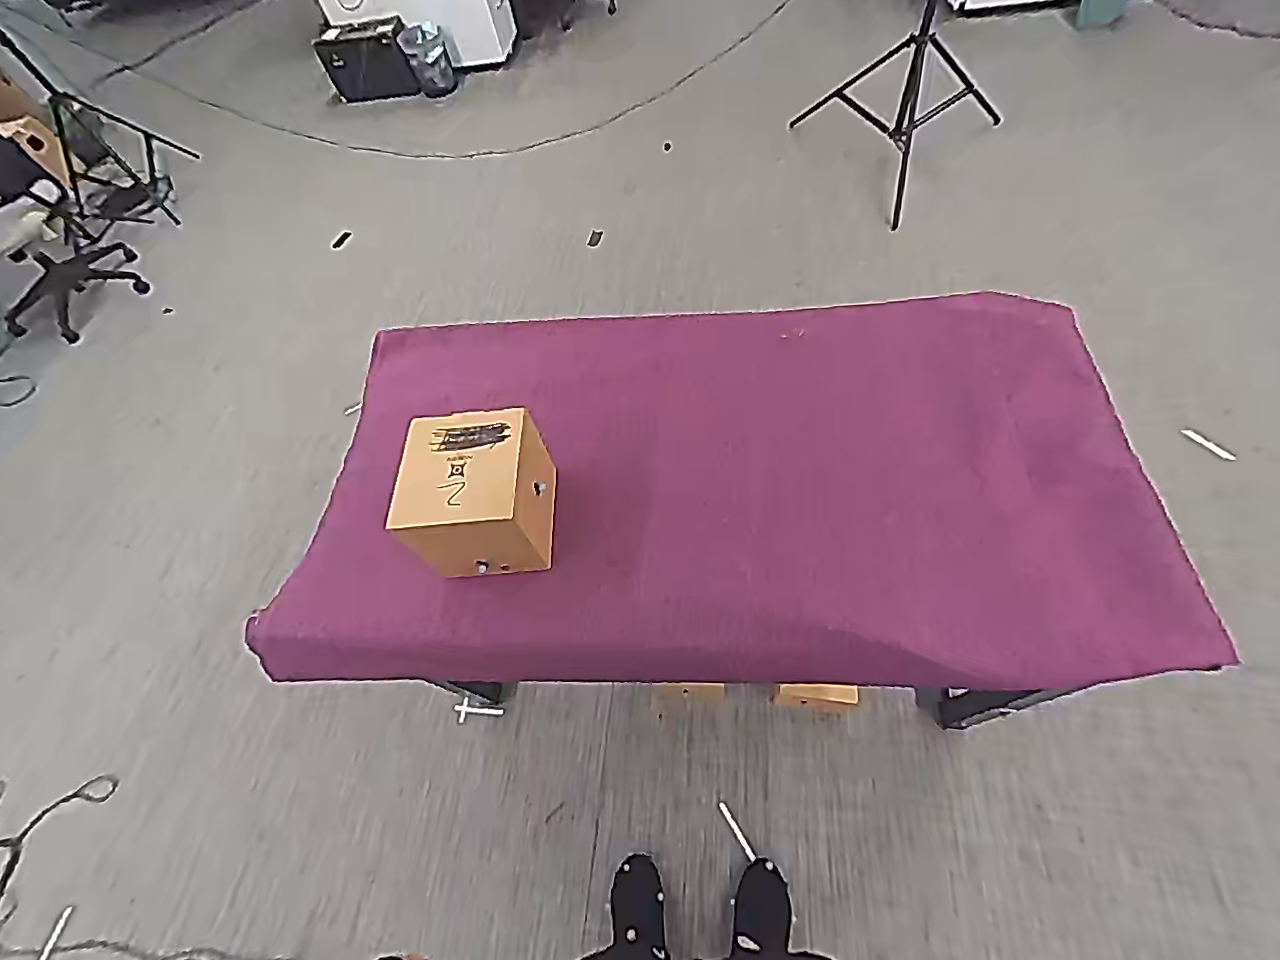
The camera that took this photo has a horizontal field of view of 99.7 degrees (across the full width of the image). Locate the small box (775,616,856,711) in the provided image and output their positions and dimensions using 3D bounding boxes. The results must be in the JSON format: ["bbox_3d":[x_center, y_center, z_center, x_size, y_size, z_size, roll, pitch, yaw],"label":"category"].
[{"bbox_3d":[0.413,0.441,1.288,0.168,0.176,0.179,3,59,11],"label":"small box"}]

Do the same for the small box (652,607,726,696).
[{"bbox_3d":[0.128,0.428,1.338,0.168,0.176,0.179,2,59,9],"label":"small box"}]
